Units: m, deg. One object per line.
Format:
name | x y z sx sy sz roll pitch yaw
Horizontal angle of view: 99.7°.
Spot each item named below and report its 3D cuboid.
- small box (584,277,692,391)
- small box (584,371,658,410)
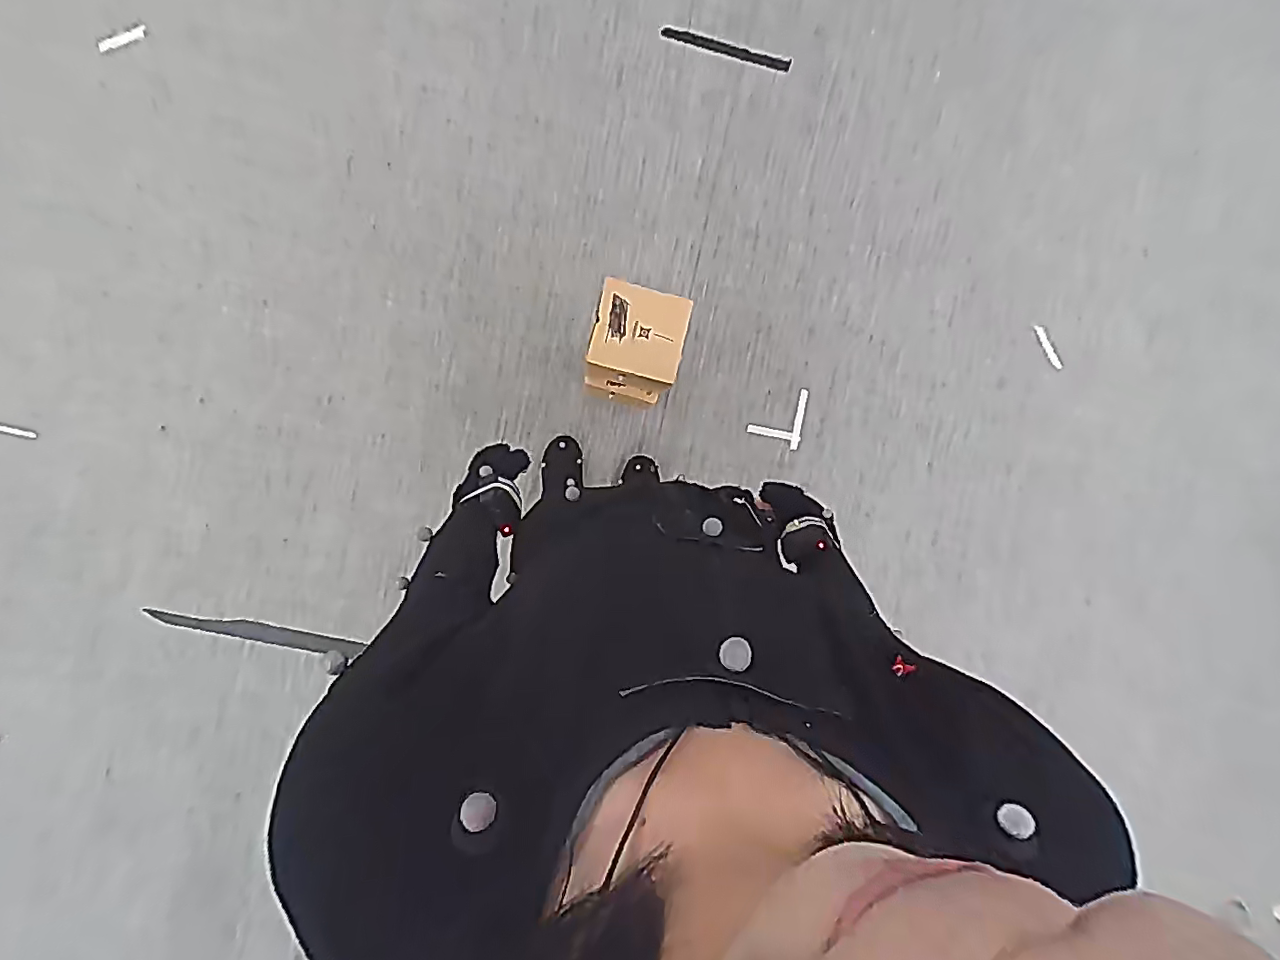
small box | -0.011 -0.285 1.097 0.179 0.176 0.168 14 91 -7
small box | -0.031 -0.275 1.263 0.168 0.176 0.179 16 90 -6
